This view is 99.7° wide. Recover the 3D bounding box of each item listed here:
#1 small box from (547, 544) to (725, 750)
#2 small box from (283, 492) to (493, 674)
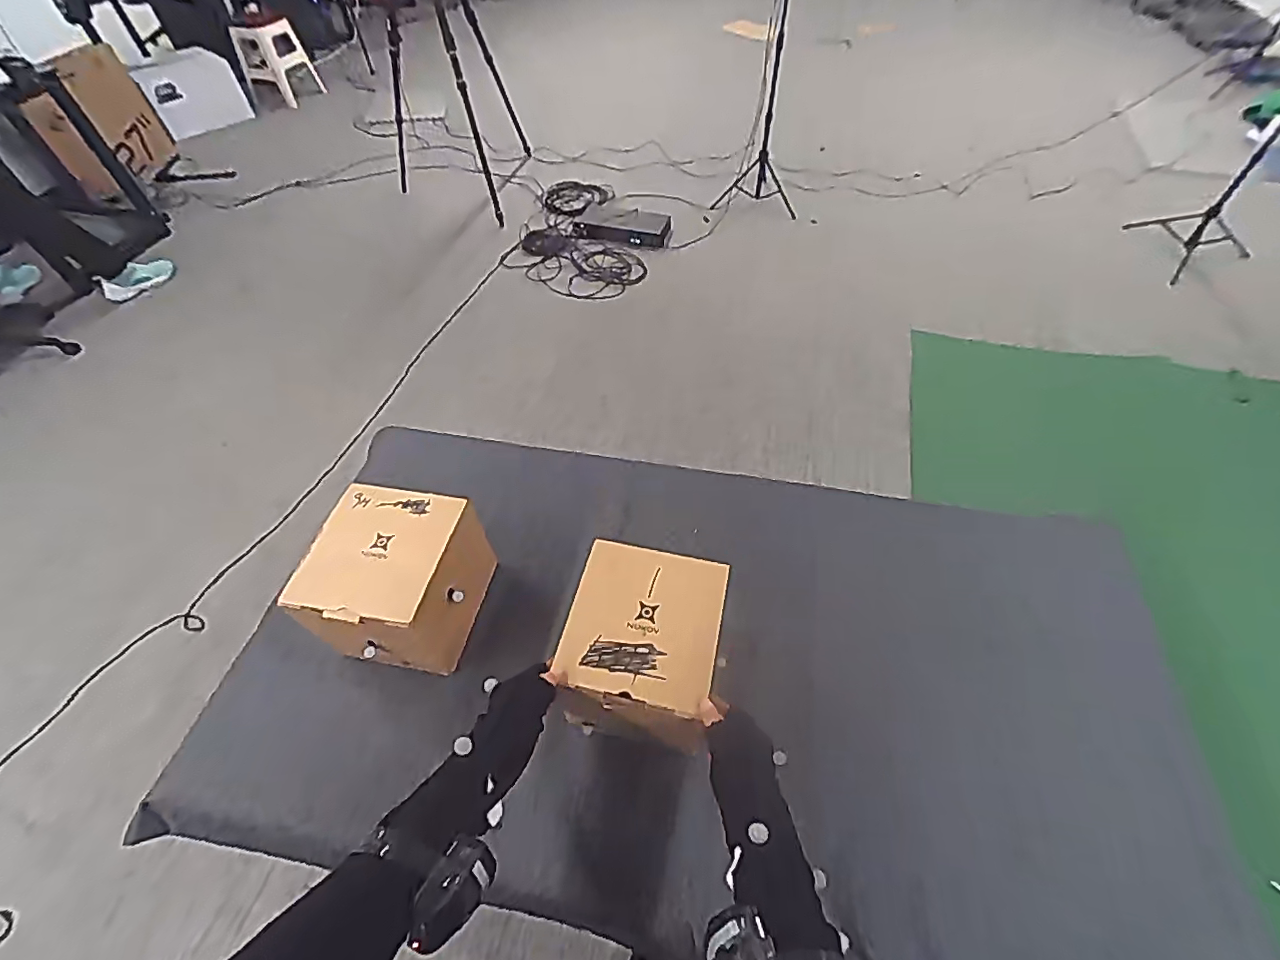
[{"bbox_3d":[0.004,0.206,0.657,0.168,0.176,0.179,9,52,10],"label":"small box"},{"bbox_3d":[-0.314,0.141,0.722,0.168,0.176,0.179,7,53,8],"label":"small box"}]
